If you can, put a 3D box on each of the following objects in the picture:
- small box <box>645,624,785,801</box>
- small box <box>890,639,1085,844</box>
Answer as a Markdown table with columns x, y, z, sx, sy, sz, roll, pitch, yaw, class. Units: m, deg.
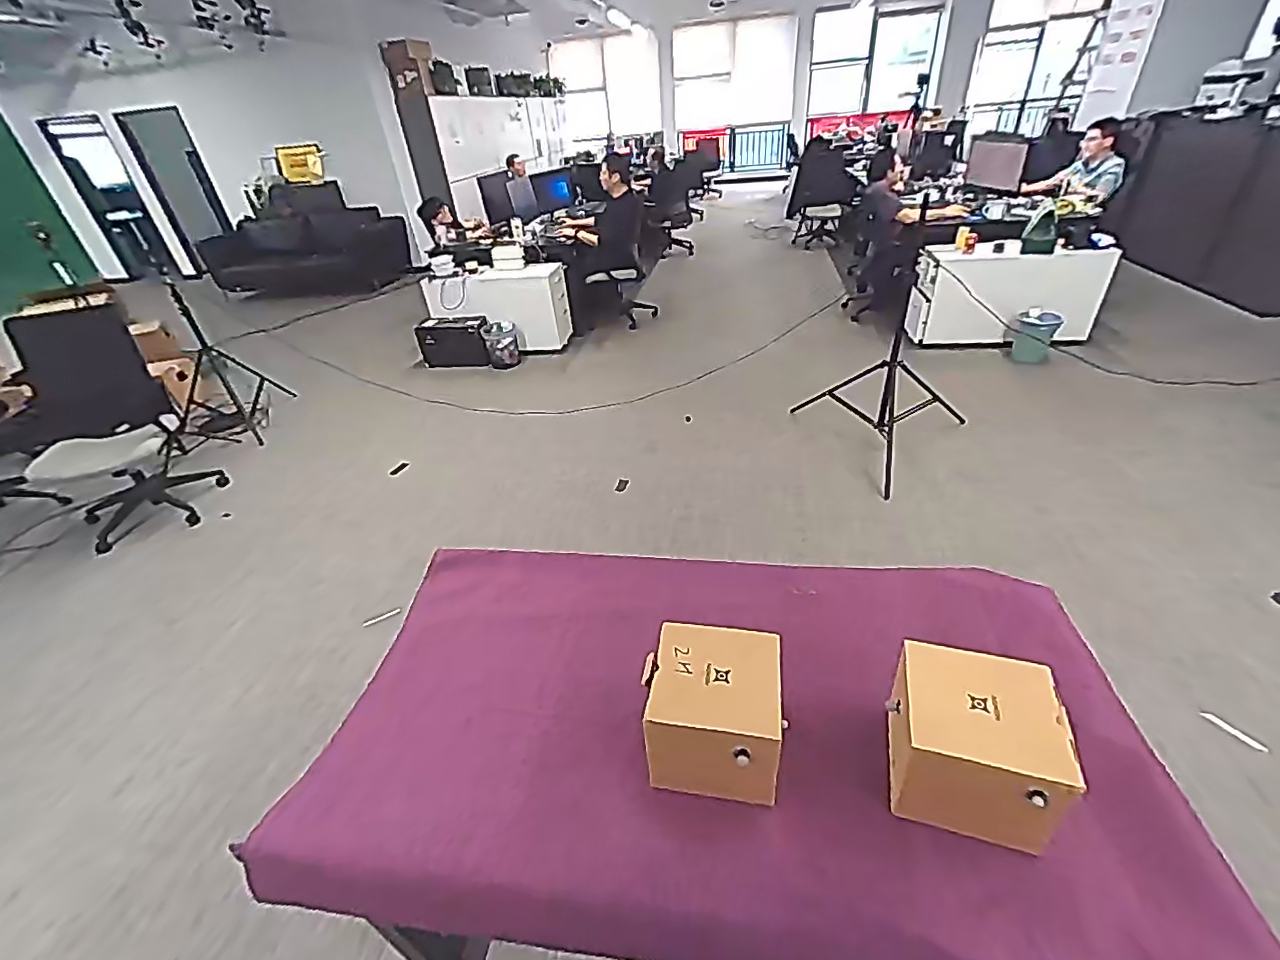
| x | y | z | sx | sy | sz | roll | pitch | yaw | class |
| --- | --- | --- | --- | --- | --- | --- | --- | --- | --- |
| 0.113 | 0.335 | 0.784 | 0.179 | 0.176 | 0.168 | 2 | 34 | 12 | small box |
| 0.437 | 0.344 | 0.718 | 0.179 | 0.176 | 0.168 | 6 | 36 | 18 | small box |
